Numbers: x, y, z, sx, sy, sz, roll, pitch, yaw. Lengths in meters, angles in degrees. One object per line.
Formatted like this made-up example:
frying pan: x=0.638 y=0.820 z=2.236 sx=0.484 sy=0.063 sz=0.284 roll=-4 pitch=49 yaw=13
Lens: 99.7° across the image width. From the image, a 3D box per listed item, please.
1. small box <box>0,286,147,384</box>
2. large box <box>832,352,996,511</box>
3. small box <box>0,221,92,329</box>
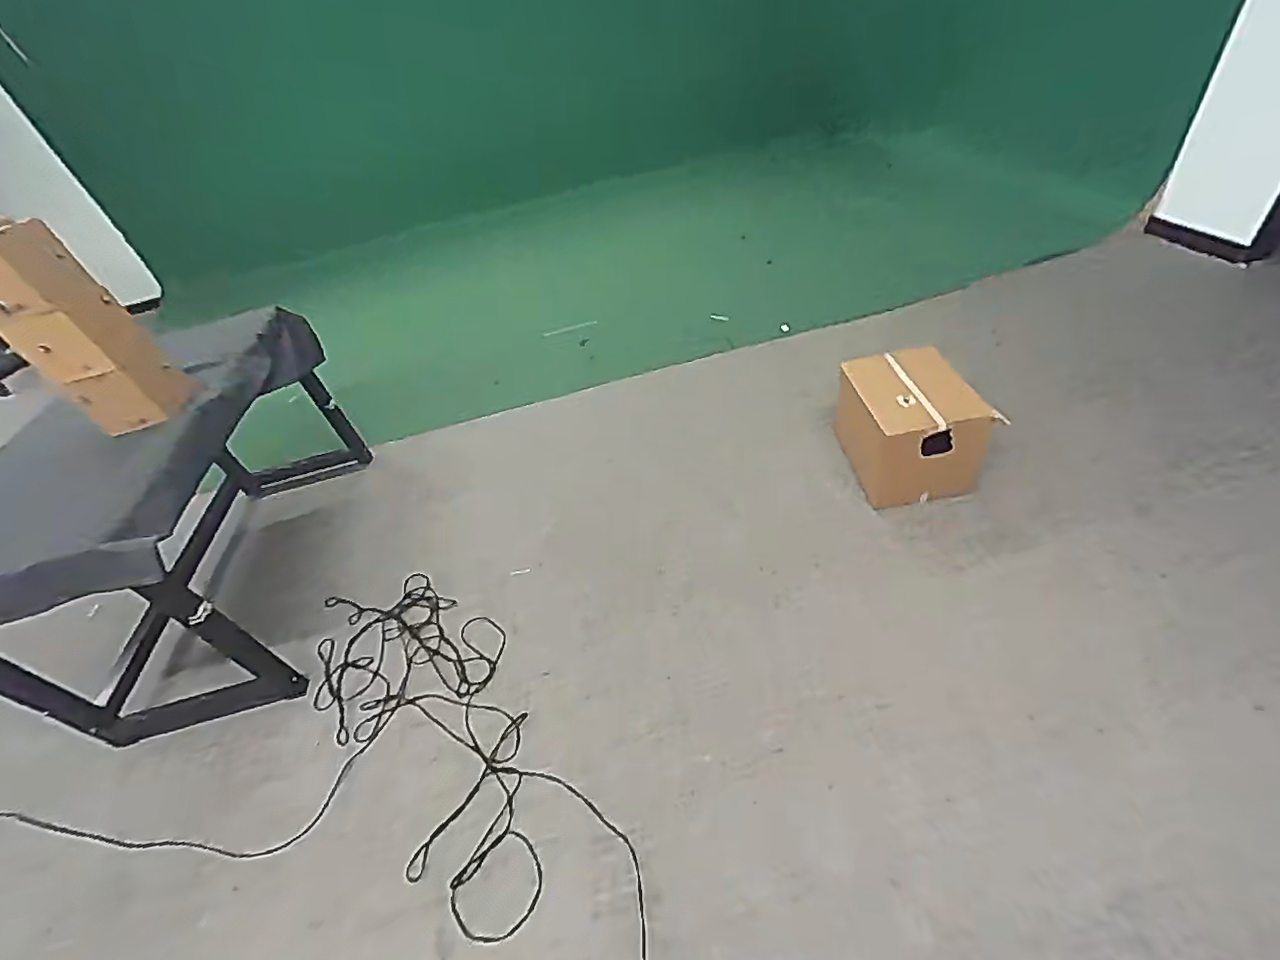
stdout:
small box: x=-1.419 y=-0.359 z=1.367 sx=0.168 sy=0.176 sz=0.179 roll=-15 pitch=41 yaw=0
large box: x=0.859 y=-0.163 z=1.772 sx=0.320 sy=0.320 sz=0.408 roll=-11 pitch=44 yaw=4
small box: x=-1.454 y=-0.474 z=1.258 sx=0.168 sy=0.176 sz=0.179 roll=-16 pitch=42 yaw=1
